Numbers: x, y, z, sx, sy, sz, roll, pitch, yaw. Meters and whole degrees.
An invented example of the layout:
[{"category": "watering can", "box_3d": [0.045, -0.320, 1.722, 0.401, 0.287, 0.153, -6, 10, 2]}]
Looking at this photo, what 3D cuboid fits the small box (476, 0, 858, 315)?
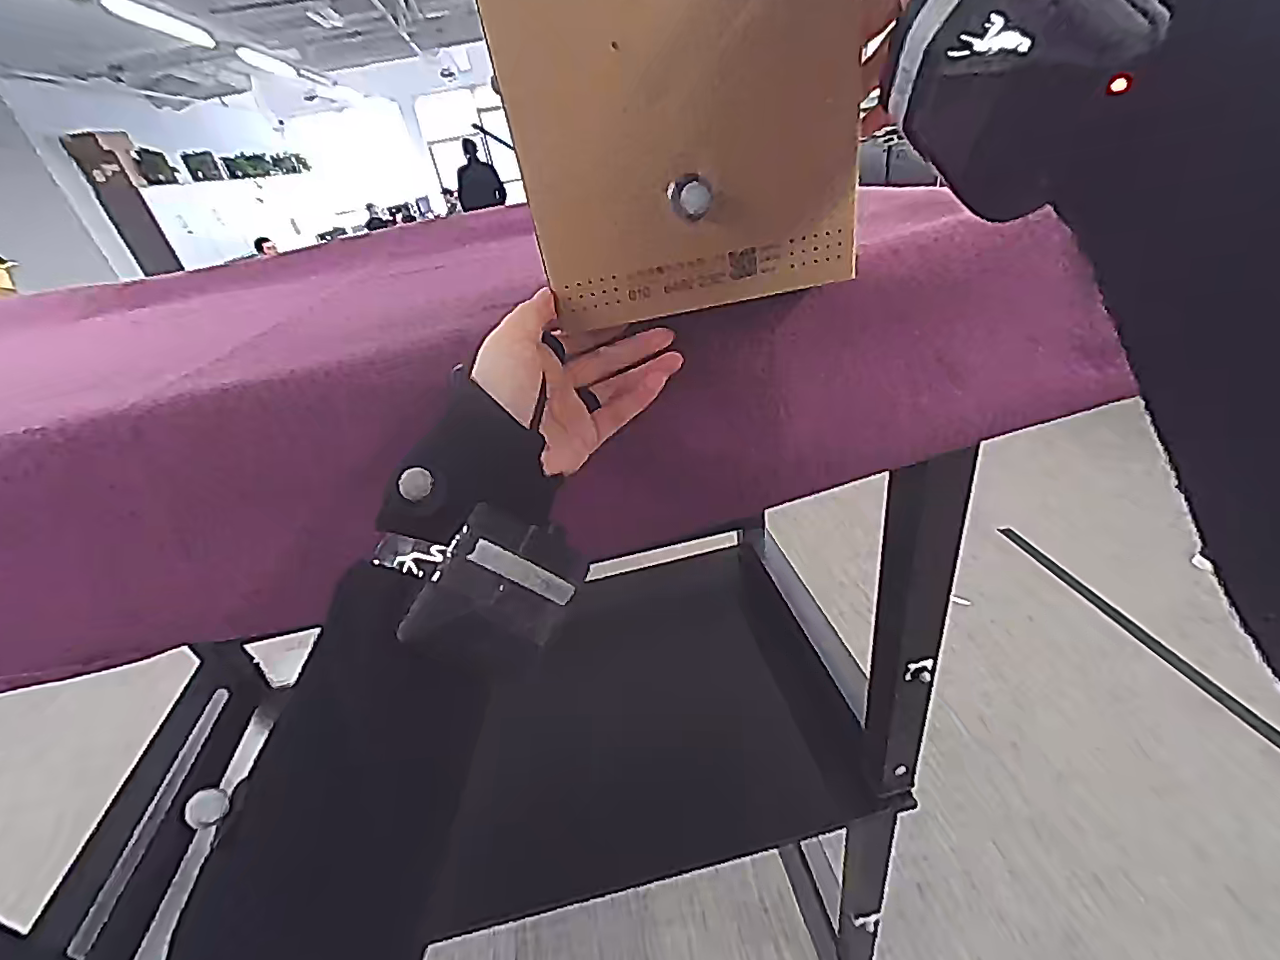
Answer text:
[{"category": "small box", "box_3d": [0.013, -0.210, 0.321, 0.168, 0.176, 0.179, -11, 32, 2]}]
